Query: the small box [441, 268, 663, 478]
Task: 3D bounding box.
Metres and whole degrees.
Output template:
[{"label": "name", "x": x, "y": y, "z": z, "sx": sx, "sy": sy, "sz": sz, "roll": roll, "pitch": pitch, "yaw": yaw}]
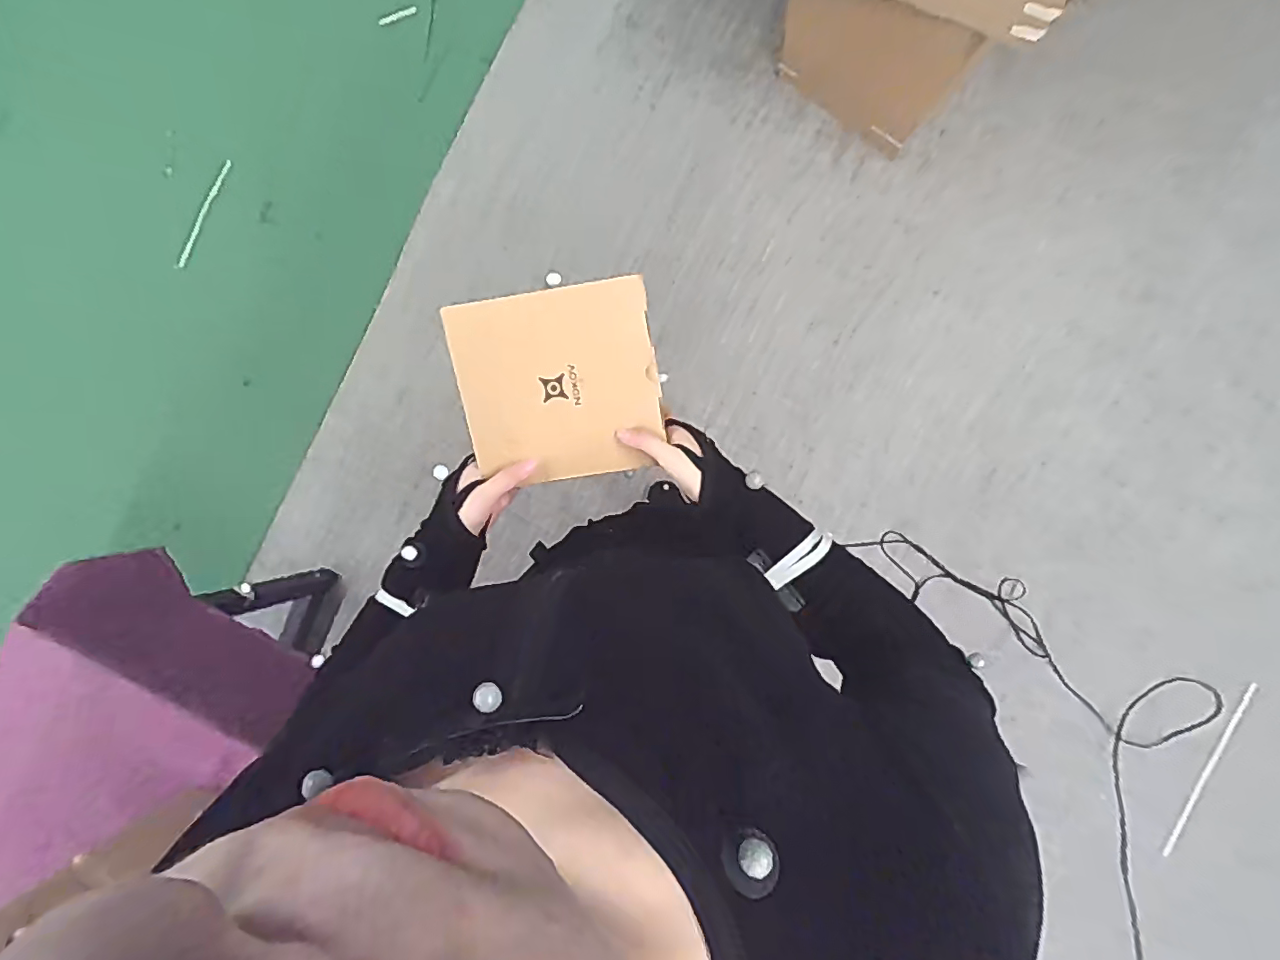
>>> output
[{"label": "small box", "x": -0.074, "y": -0.108, "z": 0.553, "sx": 0.179, "sy": 0.176, "sz": 0.168, "roll": -8, "pitch": 104, "yaw": 2}]
